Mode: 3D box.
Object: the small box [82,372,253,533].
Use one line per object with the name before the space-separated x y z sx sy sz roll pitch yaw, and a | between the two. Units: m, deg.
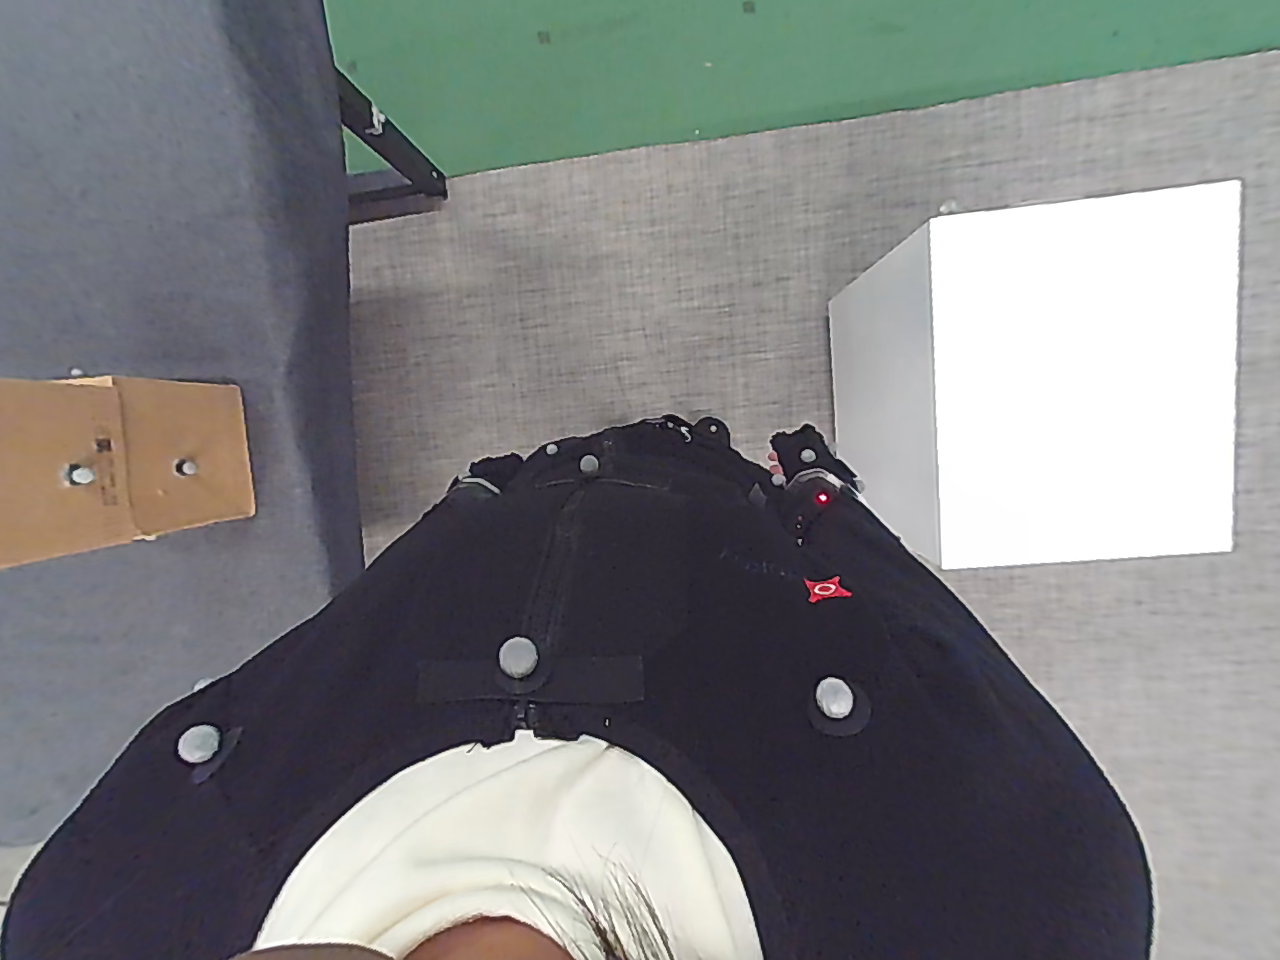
small box | -0.619 -0.037 0.666 0.168 0.176 0.179 -2 97 6
